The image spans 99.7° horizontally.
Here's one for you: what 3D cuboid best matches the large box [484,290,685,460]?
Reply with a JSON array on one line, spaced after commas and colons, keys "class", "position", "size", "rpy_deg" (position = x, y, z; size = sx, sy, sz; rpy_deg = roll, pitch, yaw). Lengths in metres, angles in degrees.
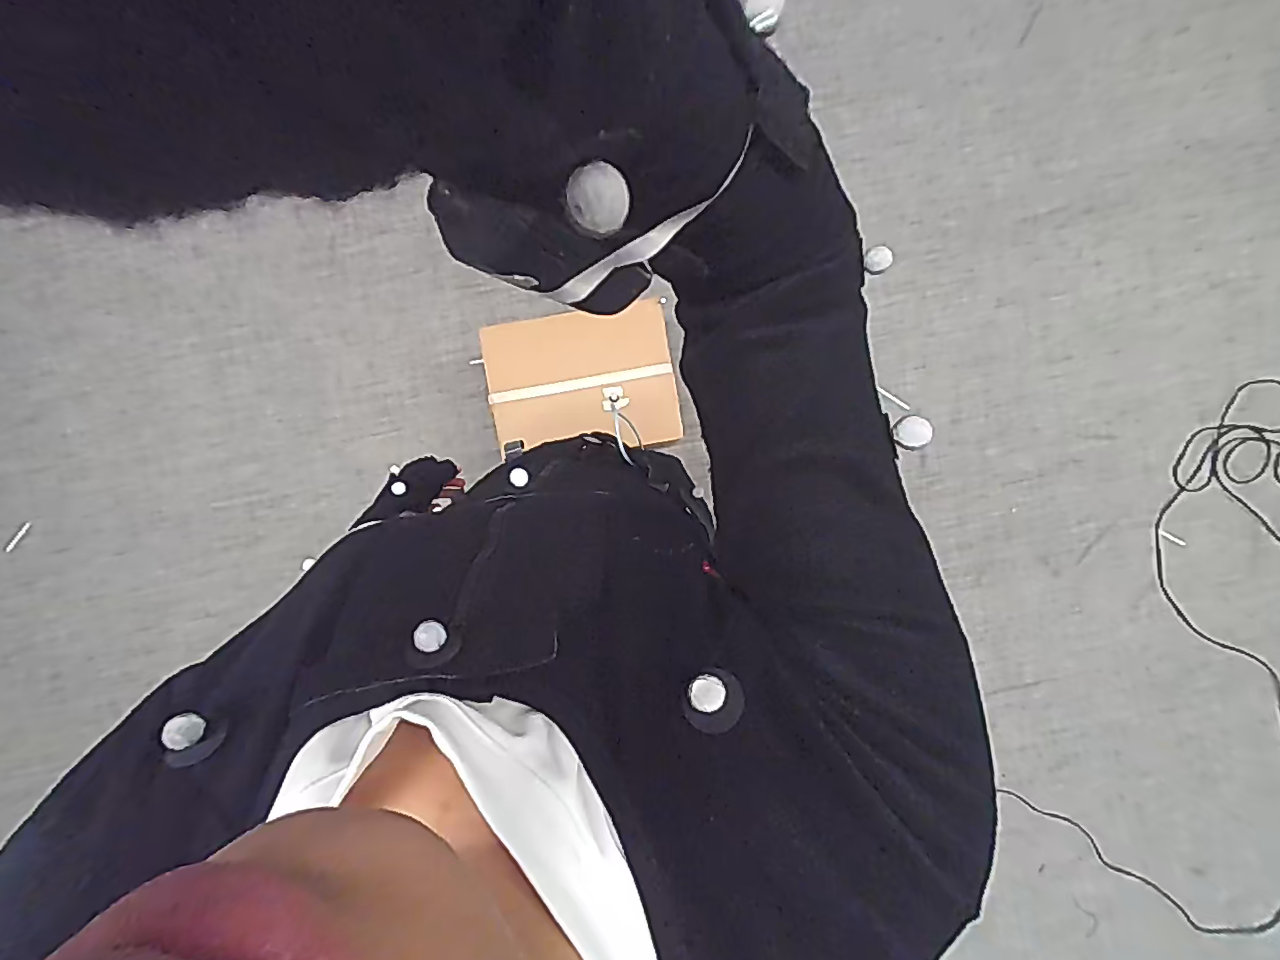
[{"class": "large box", "position": [-0.122, -0.233, 1.326], "size": [0.408, 0.320, 0.320], "rpy_deg": [-10, 93, 0]}]
